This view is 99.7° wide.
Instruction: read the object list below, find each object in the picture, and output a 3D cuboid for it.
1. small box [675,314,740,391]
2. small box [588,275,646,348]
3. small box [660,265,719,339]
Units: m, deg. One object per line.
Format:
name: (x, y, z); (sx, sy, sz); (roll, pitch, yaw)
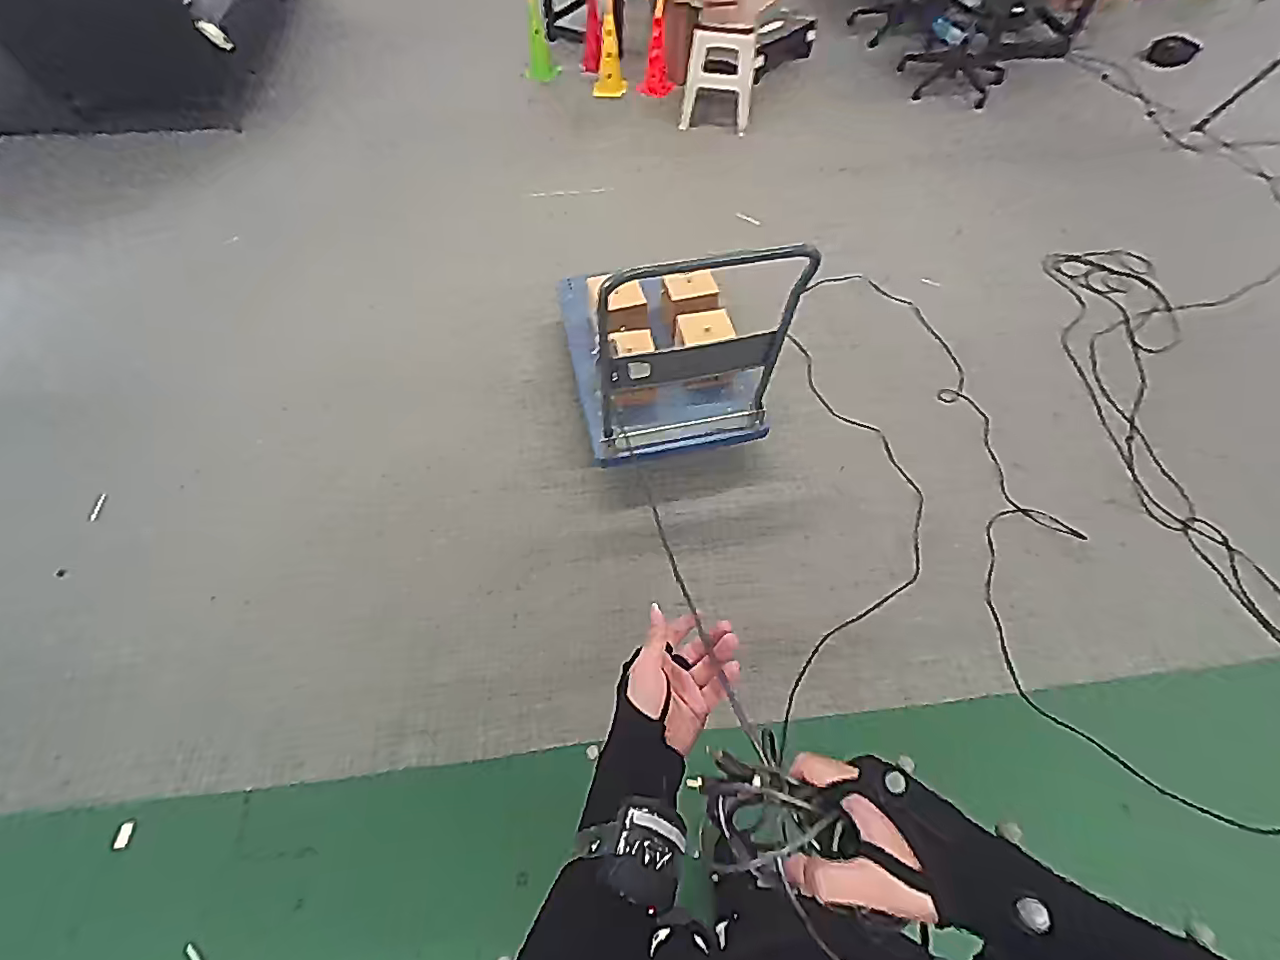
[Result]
small box: (0.216, -0.420, 1.794); (0.168, 0.176, 0.179); (-9, 60, -6)
small box: (-0.079, -0.581, 1.887); (0.168, 0.176, 0.179); (-14, 60, -10)
small box: (0.169, -0.630, 1.919); (0.168, 0.176, 0.179); (-13, 60, -7)
